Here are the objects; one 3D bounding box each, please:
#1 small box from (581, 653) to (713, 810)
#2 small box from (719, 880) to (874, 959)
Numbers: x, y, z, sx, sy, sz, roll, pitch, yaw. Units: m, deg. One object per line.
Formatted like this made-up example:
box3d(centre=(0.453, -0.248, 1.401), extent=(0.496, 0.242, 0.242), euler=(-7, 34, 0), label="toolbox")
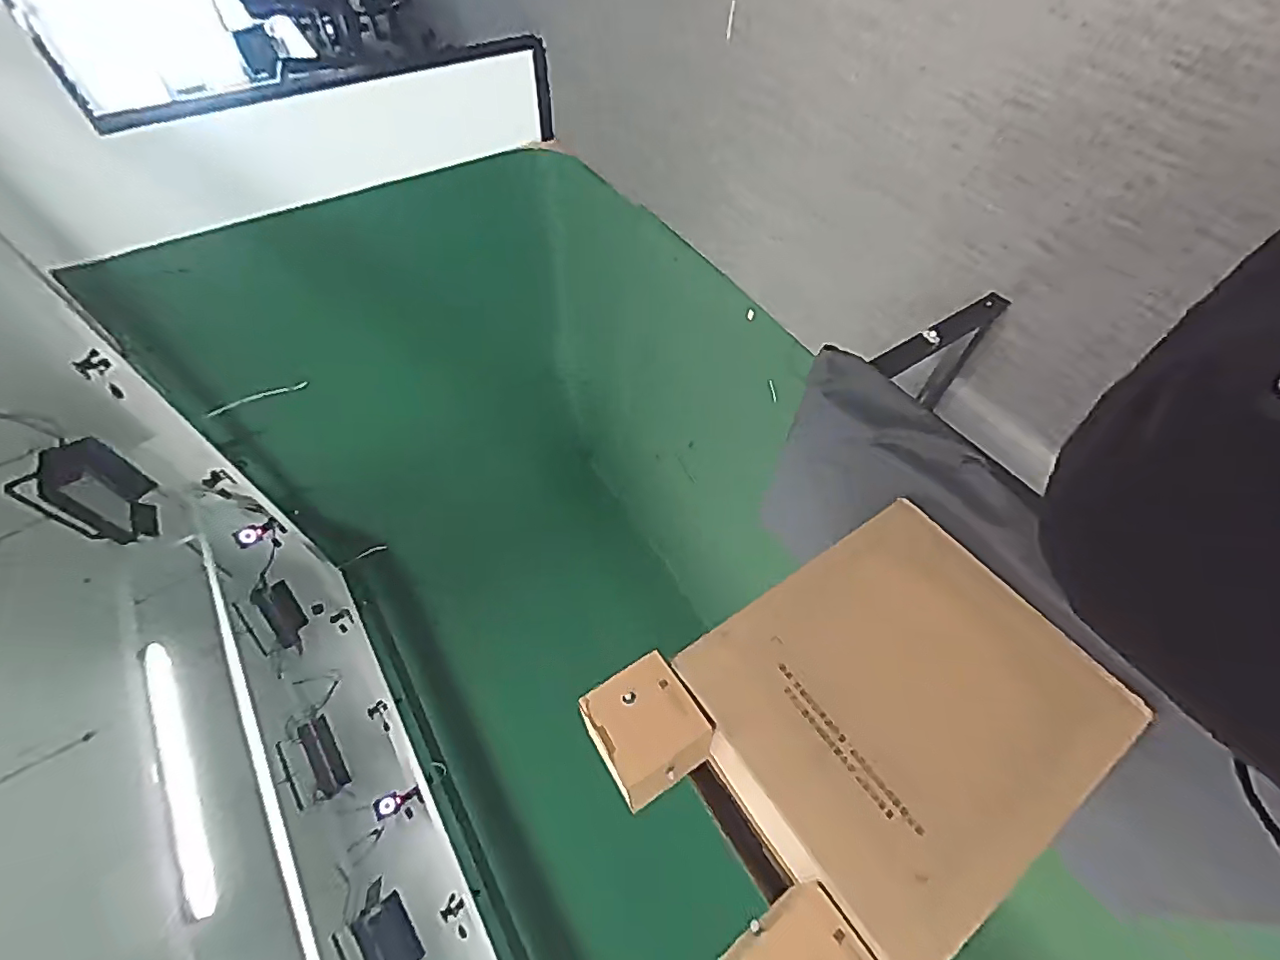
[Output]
box3d(centre=(0.016, 0.441, 0.961), extent=(0.168, 0.176, 0.179), euler=(50, 158, 36), label="small box")
box3d(centre=(0.238, 0.715, 0.777), extent=(0.168, 0.176, 0.179), euler=(48, 156, 32), label="small box")
